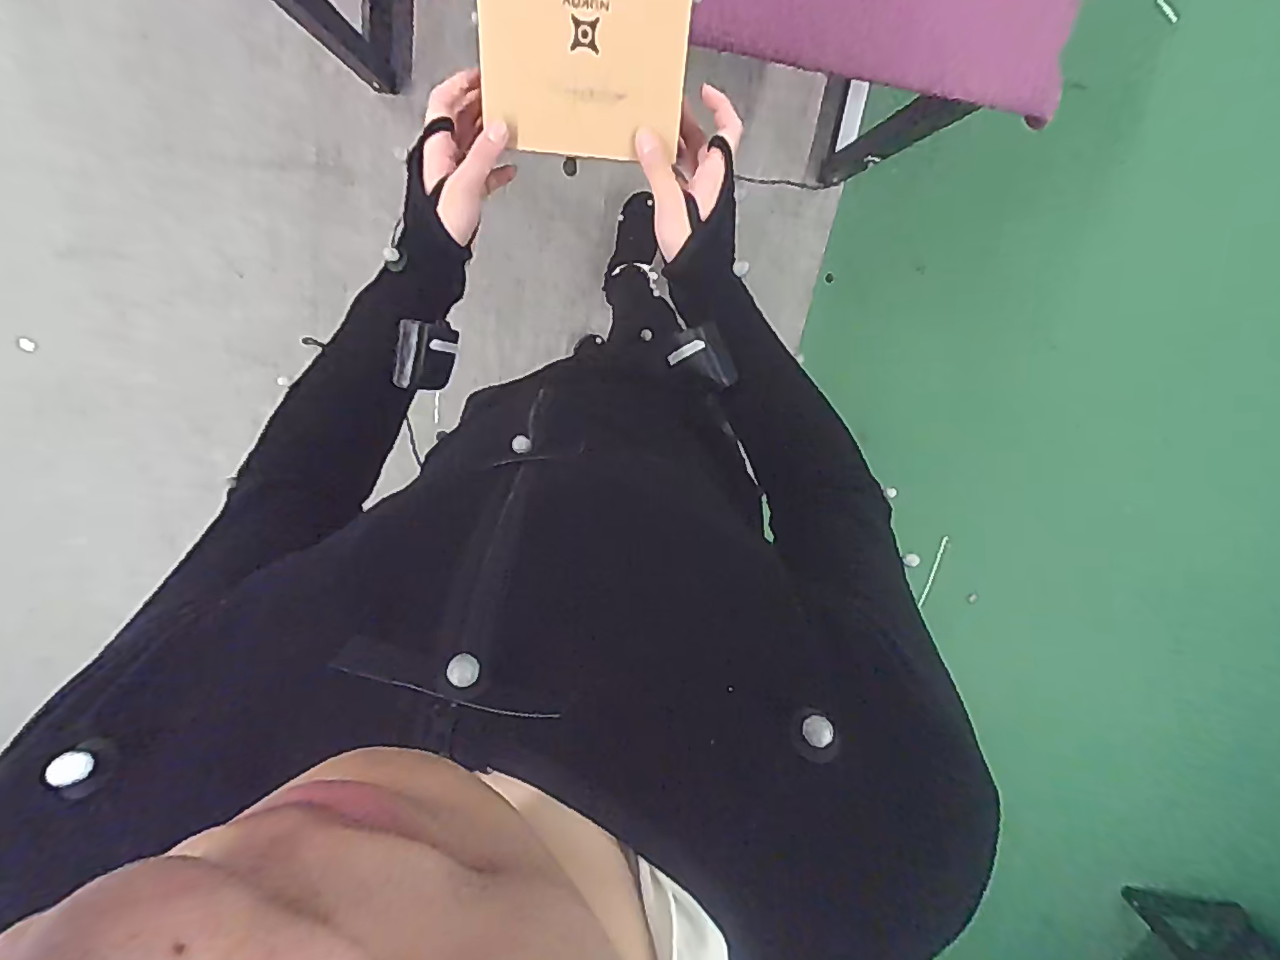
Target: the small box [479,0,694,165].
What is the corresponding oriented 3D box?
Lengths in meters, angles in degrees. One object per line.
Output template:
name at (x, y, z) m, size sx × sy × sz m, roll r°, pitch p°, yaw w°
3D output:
small box at (-0.046, -0.394, 0.487) m, size 0.168 × 0.176 × 0.179 m, roll 3°, pitch 120°, yaw -5°
